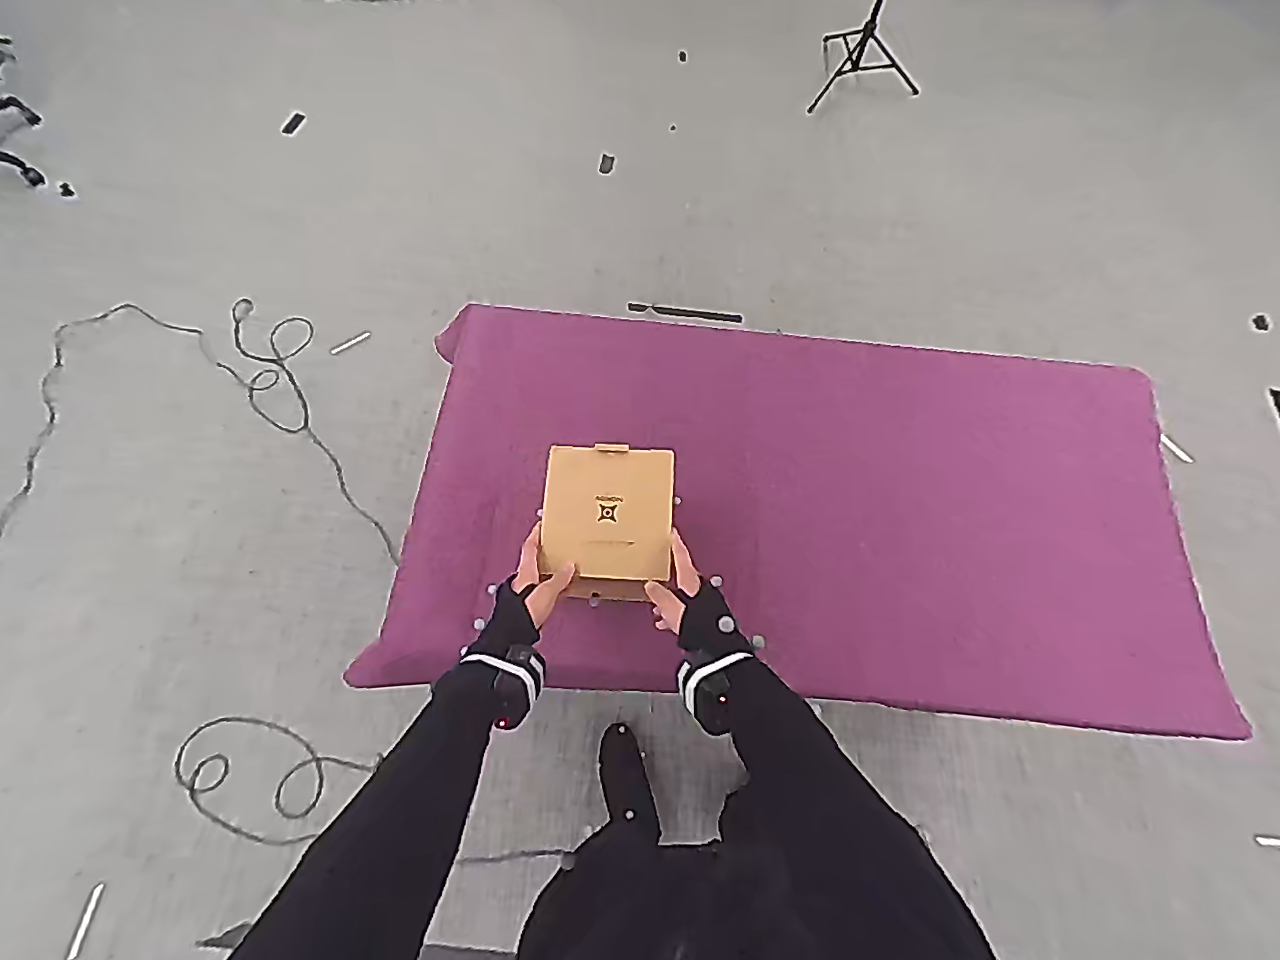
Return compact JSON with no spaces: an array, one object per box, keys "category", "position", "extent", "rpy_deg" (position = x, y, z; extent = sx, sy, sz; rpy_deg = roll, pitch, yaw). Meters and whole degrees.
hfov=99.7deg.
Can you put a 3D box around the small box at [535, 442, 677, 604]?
[{"category":"small box","position":[-0.042,0.066,0.751],"extent":[0.168,0.176,0.179],"rpy_deg":[4,69,0]}]
